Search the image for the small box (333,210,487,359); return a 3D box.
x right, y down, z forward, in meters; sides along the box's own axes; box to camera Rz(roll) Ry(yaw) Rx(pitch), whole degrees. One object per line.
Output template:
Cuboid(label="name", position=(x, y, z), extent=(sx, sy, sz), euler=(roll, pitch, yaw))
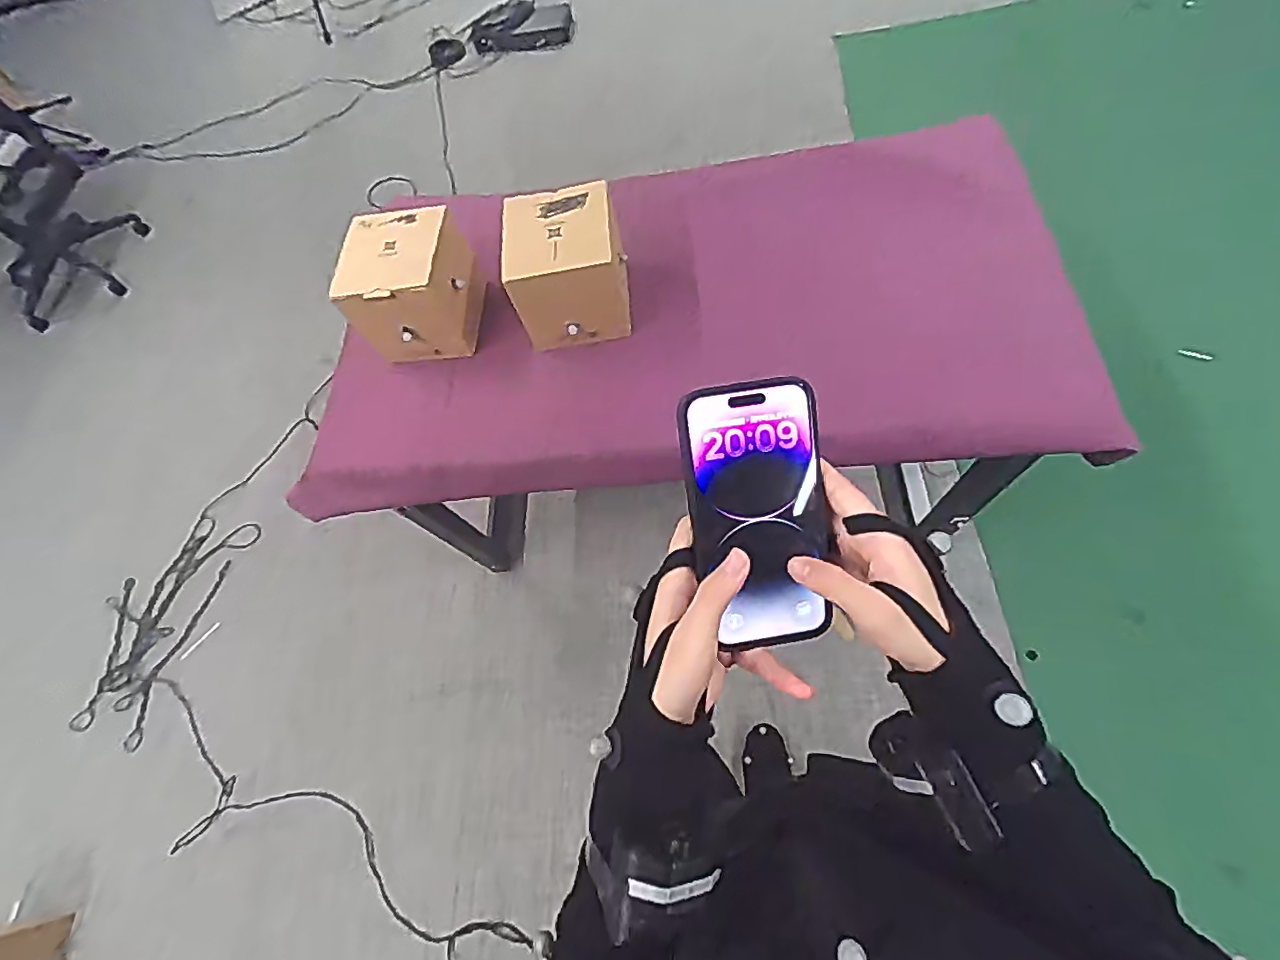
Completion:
Cuboid(label="small box", position=(-0.378, -0.320, 0.922), extent=(0.168, 0.176, 0.179), euler=(-3, 66, 9))

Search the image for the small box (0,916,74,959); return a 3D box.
Cuboid(label="small box", position=(-1.491, 1.143, 1.253), extent=(0.179, 0.176, 0.168), euler=(-12, 64, 5))

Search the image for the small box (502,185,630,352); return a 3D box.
Cuboid(label="small box", position=(-0.113, -0.338, 0.884), extent=(0.168, 0.176, 0.179), euler=(-8, 65, 7))
